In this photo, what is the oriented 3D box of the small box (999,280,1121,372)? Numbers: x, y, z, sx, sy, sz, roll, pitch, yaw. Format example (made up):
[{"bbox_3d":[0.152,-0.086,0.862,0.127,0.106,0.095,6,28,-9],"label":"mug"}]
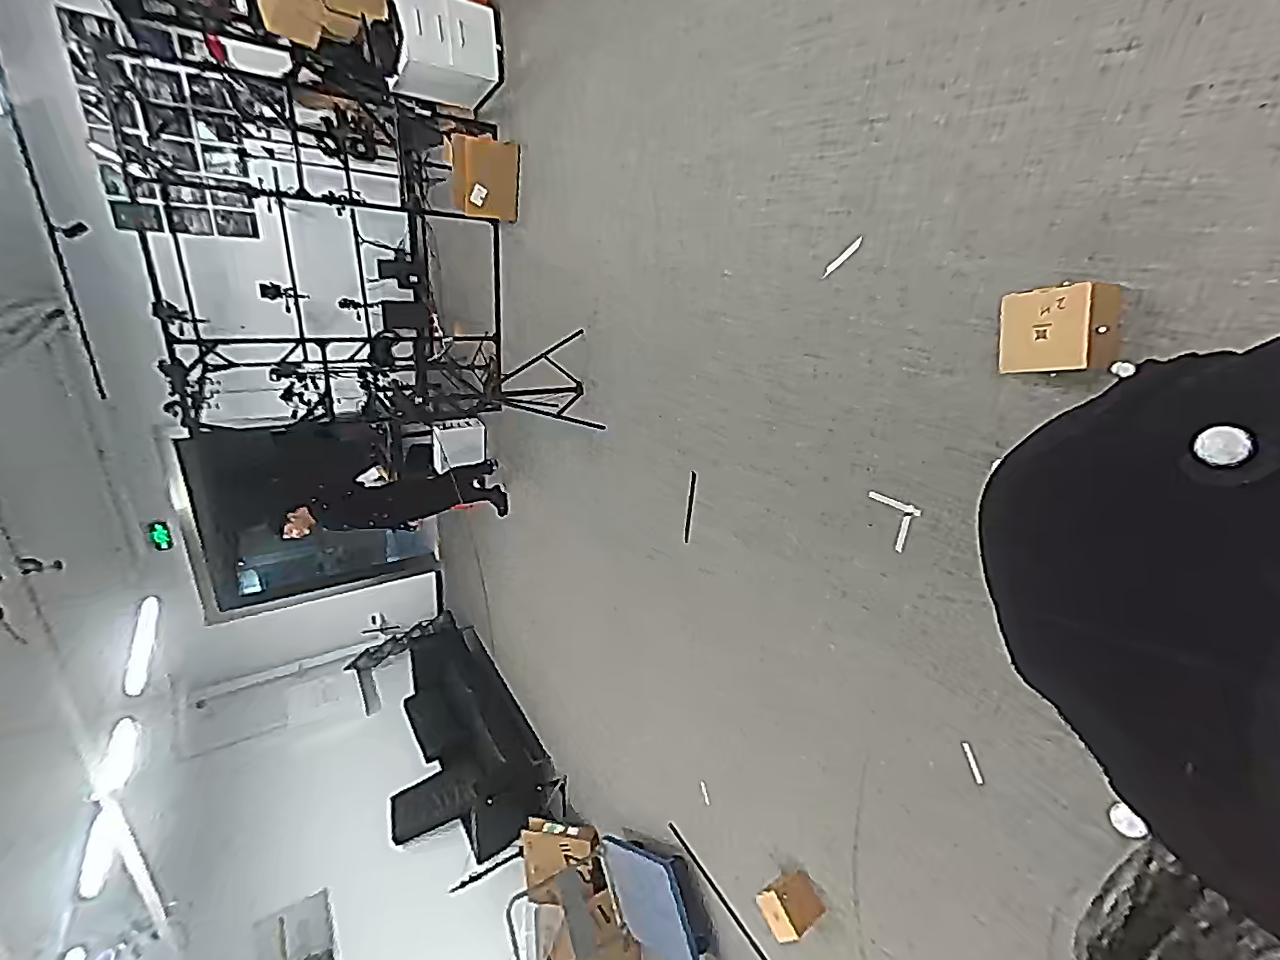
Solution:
[{"bbox_3d":[0.927,-0.336,1.194,0.168,0.176,0.179,11,108,56],"label":"small box"}]

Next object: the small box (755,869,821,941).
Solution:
[{"bbox_3d":[0.622,1.778,2.262,0.179,0.176,0.168,58,142,31],"label":"small box"}]
